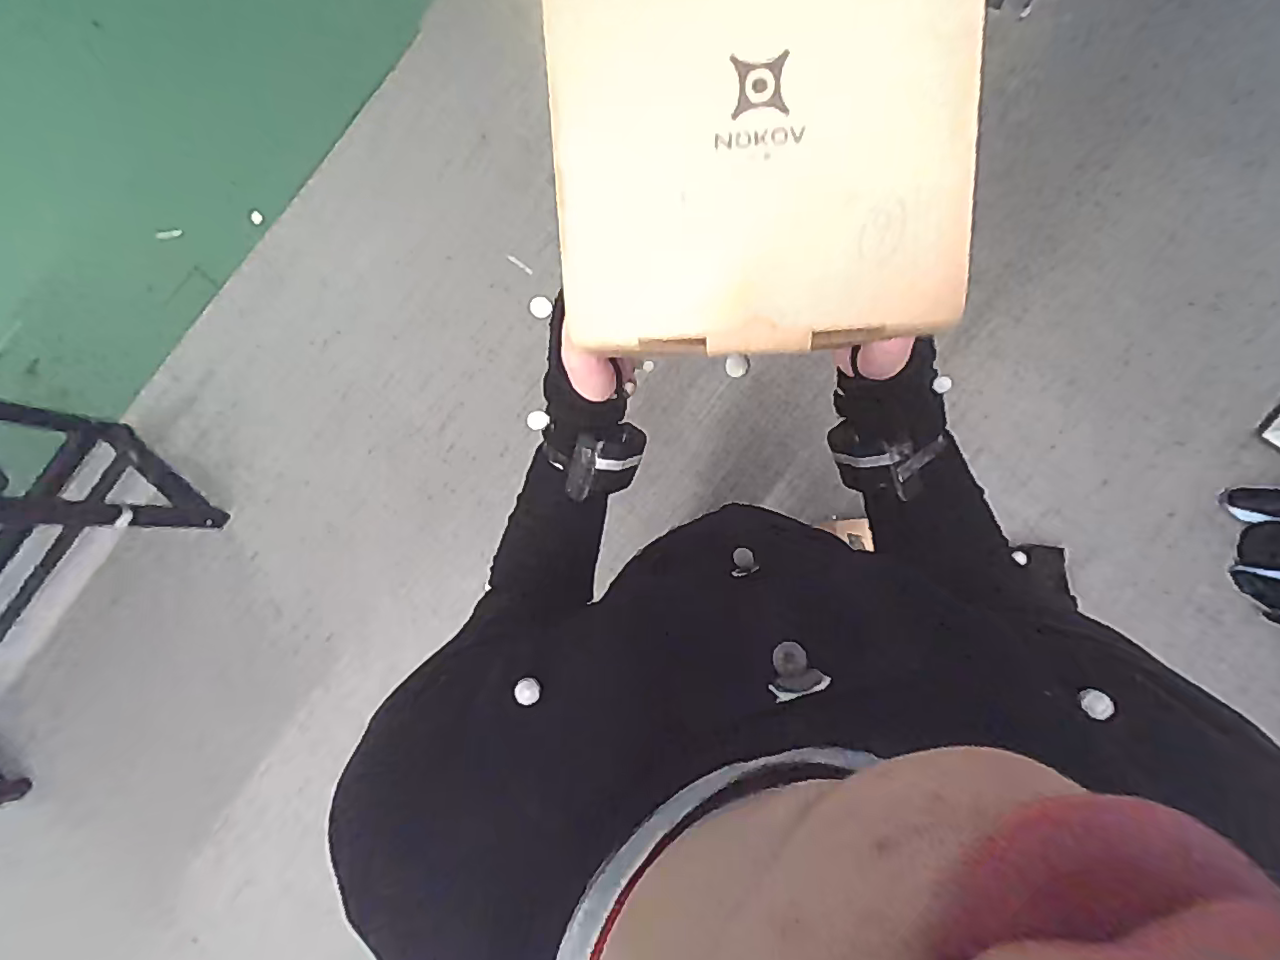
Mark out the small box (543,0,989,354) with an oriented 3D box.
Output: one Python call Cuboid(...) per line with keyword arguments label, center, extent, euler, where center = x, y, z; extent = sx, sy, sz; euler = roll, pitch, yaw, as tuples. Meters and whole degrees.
Cuboid(label="small box", center=(0.051, -0.159, 0.286), extent=(0.168, 0.176, 0.179), euler=(-2, 101, 3))
